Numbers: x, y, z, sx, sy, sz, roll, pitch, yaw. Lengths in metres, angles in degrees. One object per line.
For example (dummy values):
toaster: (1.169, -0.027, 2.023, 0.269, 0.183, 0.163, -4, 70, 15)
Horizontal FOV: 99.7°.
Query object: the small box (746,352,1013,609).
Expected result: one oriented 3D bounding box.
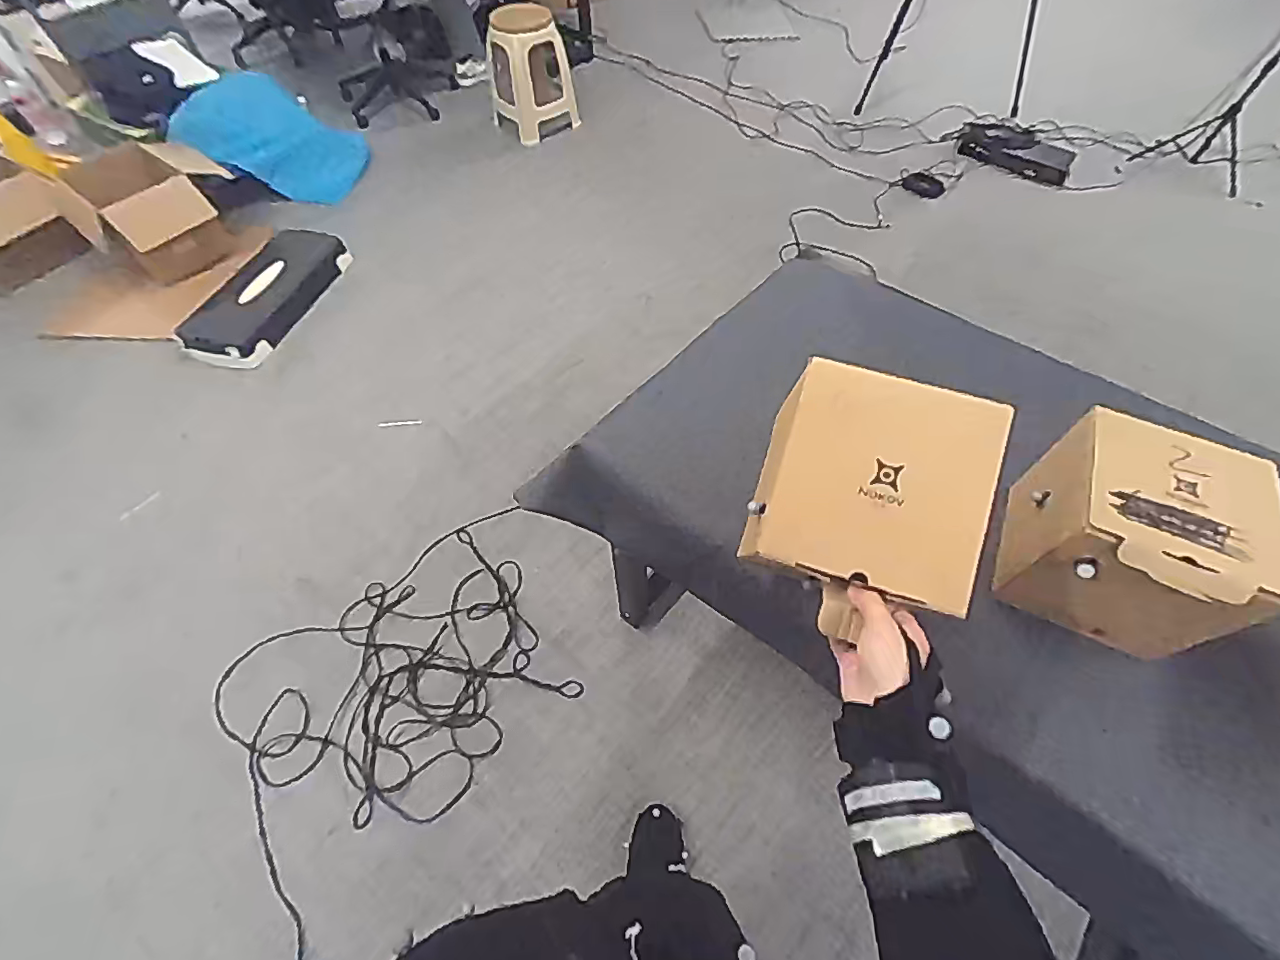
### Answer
small box: (0.206, 0.008, 0.514, 0.168, 0.176, 0.179, 16, 83, 7)
